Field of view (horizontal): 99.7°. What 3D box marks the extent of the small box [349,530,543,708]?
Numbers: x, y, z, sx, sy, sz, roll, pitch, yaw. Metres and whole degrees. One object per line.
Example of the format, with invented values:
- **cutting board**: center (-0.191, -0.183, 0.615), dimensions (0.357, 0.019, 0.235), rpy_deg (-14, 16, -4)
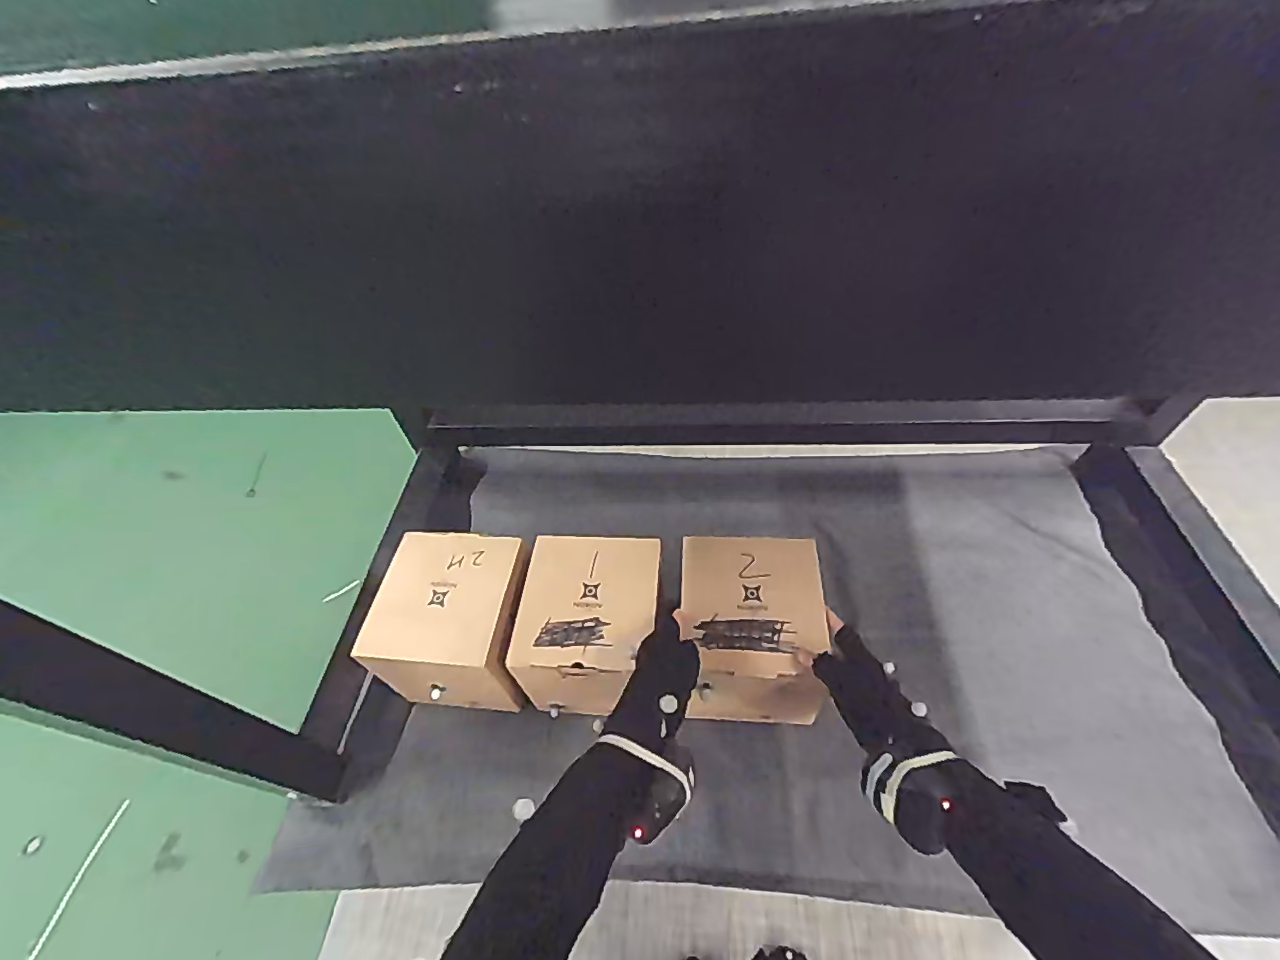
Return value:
- **small box**: center (-0.237, 0.188, 0.720), dimensions (0.168, 0.176, 0.179), rpy_deg (3, 51, 7)
